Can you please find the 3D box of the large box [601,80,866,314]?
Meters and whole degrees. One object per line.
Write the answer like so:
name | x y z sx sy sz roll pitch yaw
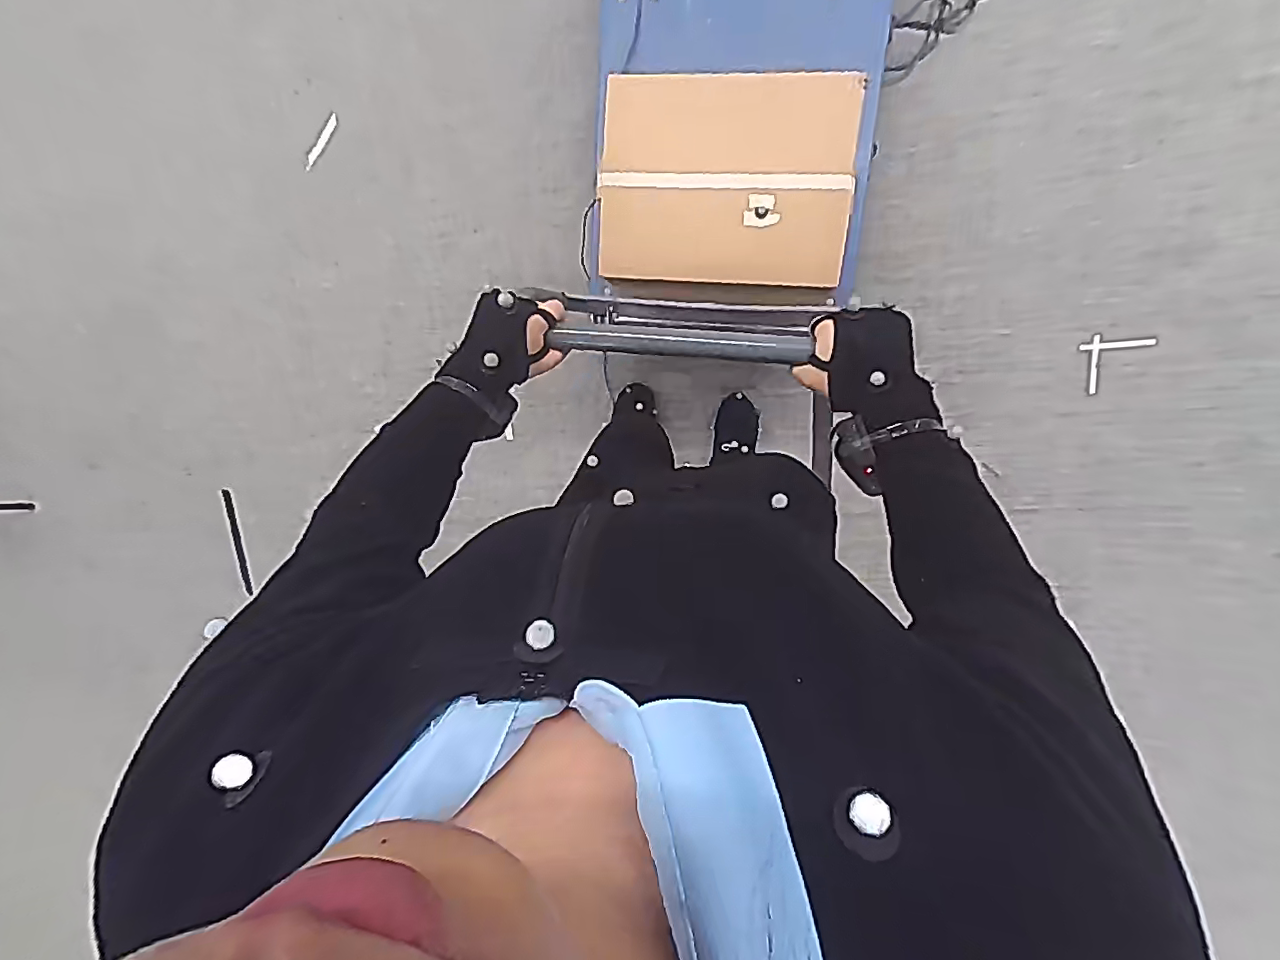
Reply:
large box | 0.156 -0.493 1.010 0.408 0.320 0.320 6 102 8
